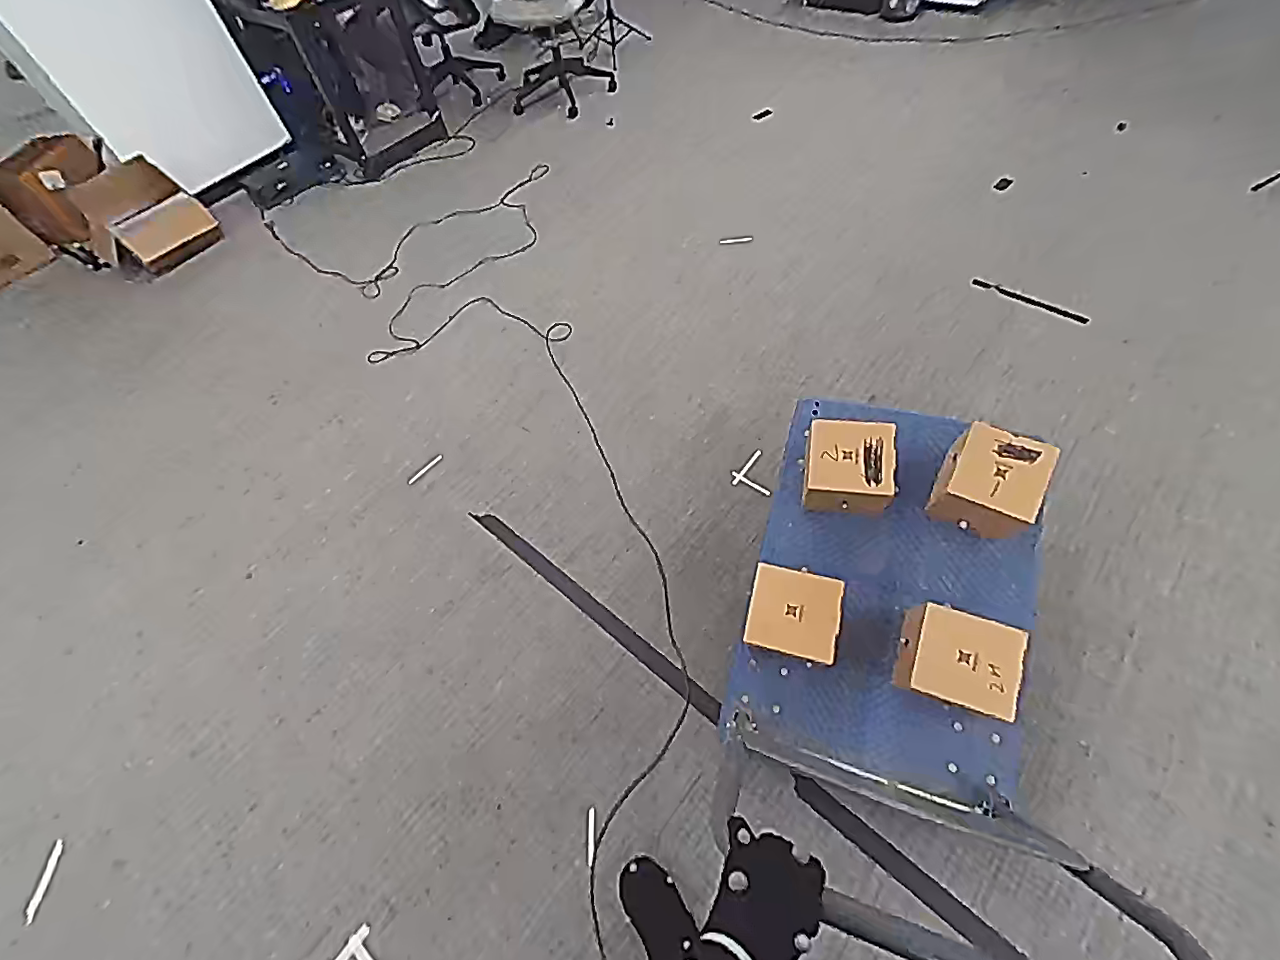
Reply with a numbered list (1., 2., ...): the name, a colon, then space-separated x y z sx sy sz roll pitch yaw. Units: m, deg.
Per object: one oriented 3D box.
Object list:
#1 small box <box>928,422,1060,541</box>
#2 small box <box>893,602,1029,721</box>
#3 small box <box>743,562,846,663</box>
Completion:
1. small box: 0.750 0.008 1.165 0.168 0.176 0.179 24 78 19
2. small box: 0.619 0.357 1.065 0.179 0.176 0.168 17 75 17
3. small box: 0.323 0.287 1.153 0.179 0.176 0.168 11 73 14
